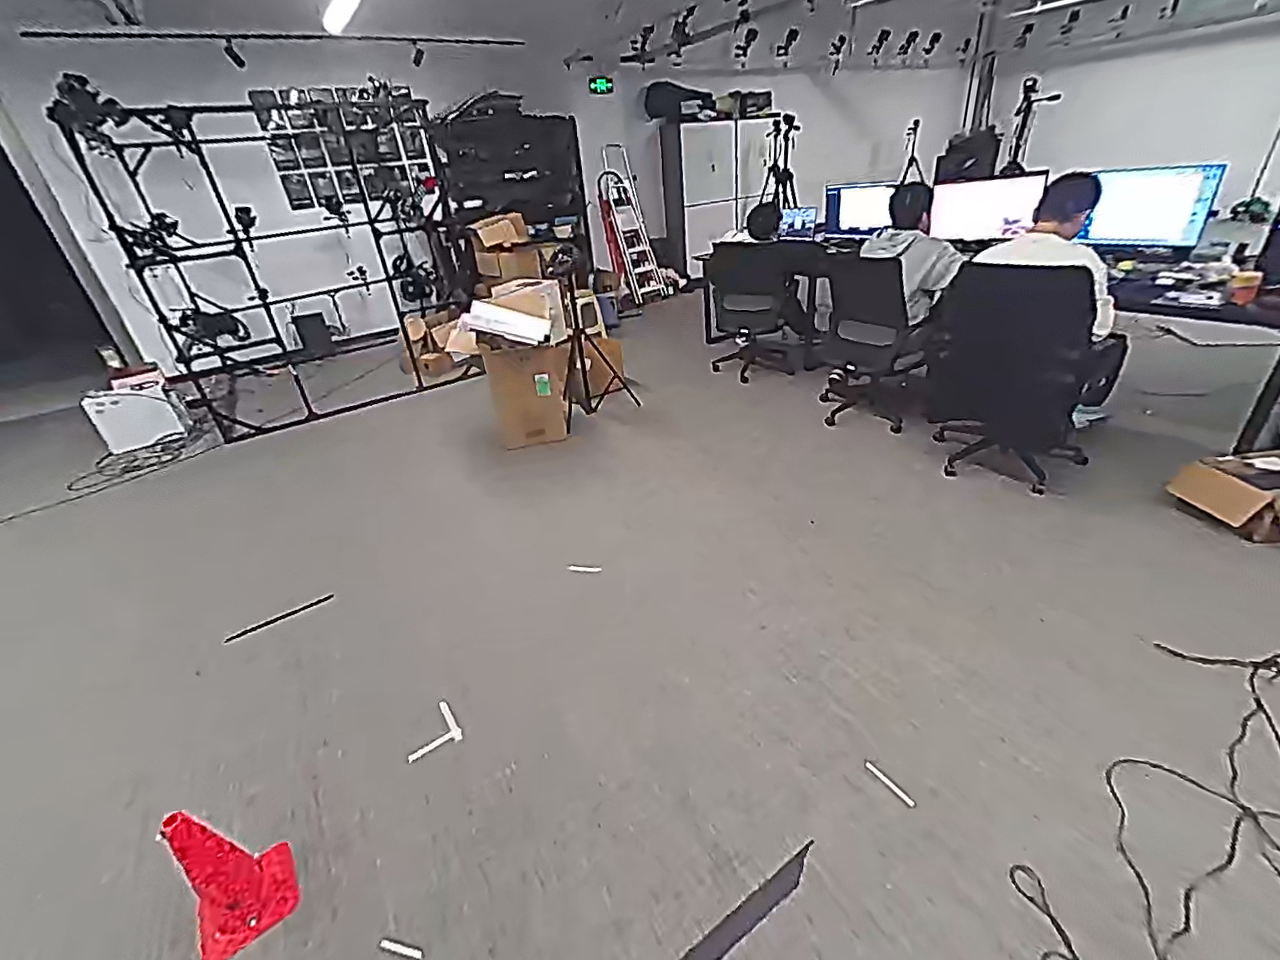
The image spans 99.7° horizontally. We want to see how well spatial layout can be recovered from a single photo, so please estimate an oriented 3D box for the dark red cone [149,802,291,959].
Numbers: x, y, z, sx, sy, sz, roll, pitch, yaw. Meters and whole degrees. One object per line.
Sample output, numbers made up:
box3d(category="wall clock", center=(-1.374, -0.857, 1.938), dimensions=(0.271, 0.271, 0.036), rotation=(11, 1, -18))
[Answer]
box3d(category="dark red cone", center=(-0.959, 0.840, 1.191), dimensions=(0.202, 0.394, 0.201), rotation=(-27, 37, -32))
